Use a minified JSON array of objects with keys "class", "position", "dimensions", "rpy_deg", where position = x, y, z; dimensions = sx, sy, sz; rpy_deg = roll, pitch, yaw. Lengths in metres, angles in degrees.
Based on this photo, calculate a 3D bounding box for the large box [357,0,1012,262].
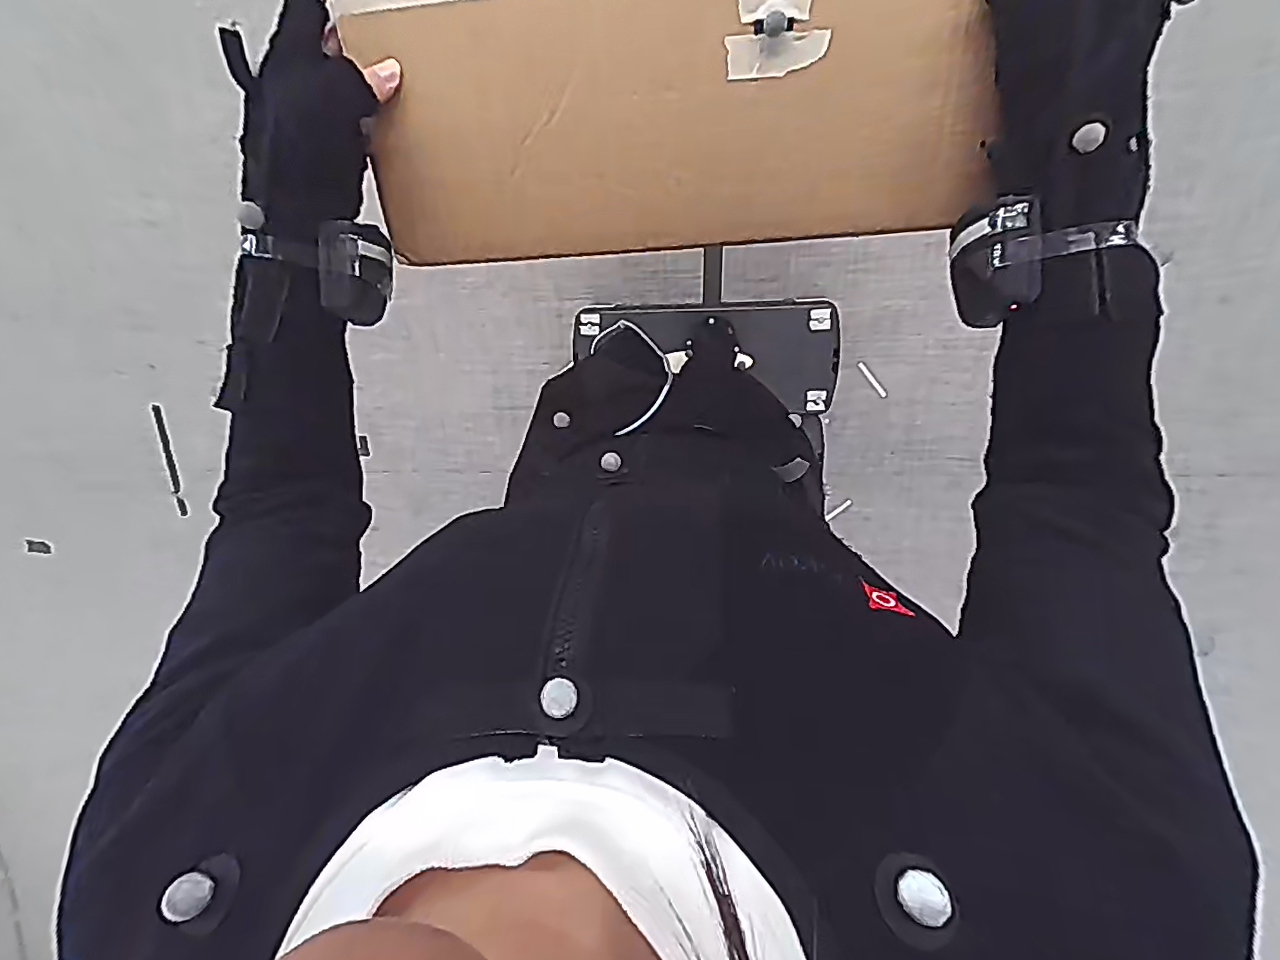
[{"class":"large box","position":[0.030,-0.372,0.452],"dimensions":[0.408,0.320,0.320],"rpy_deg":[-1,116,8]}]

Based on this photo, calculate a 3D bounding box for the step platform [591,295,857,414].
[{"class":"step platform","position":[0.211,-0.330,1.440],"dimensions":[0.684,0.204,0.286],"rpy_deg":[0,108,7]}]
